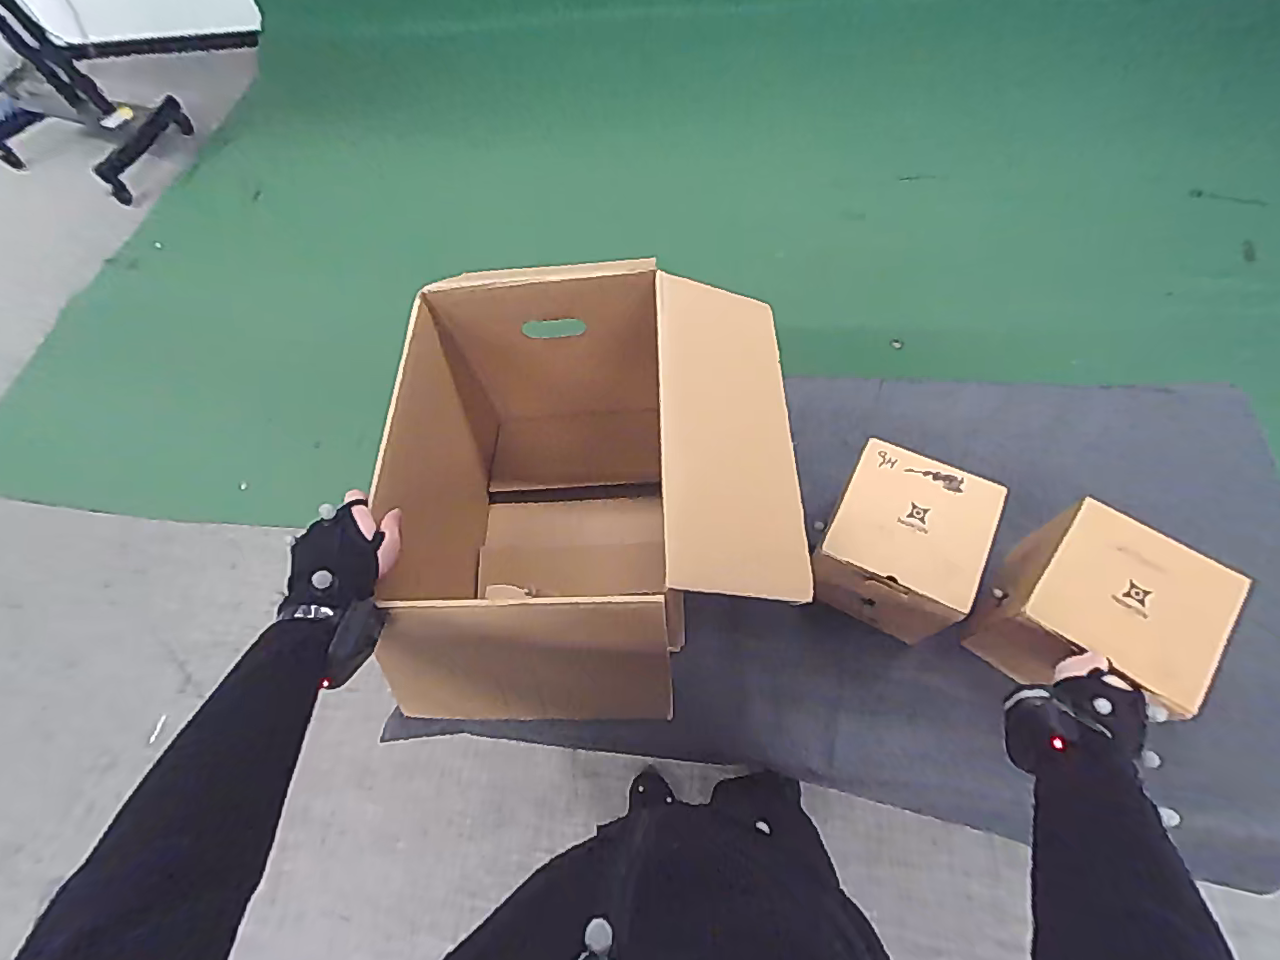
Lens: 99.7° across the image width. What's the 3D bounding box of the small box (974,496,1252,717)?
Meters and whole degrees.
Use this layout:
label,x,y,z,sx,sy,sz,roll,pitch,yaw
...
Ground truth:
label,x,y,z,sx,sy,sz,roll,pitch,yaw
small box,0.536,0.158,0.643,0.168,0.176,0.179,34,71,21
